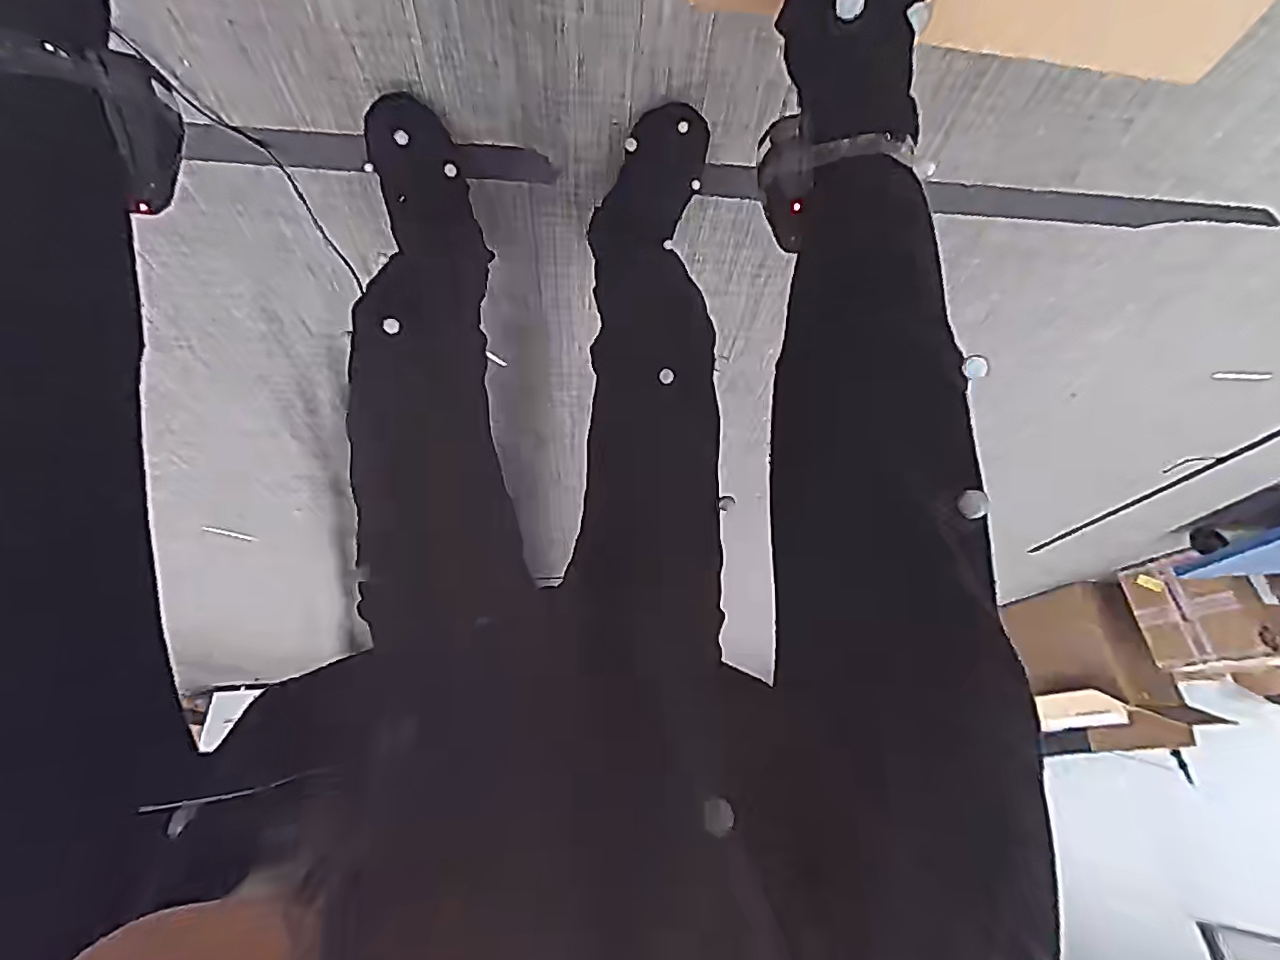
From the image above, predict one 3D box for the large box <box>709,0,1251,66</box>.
[{"bbox_3d":[0.246,-0.528,0.335,0.408,0.320,0.320,1,153,-9],"label":"large box"}]
